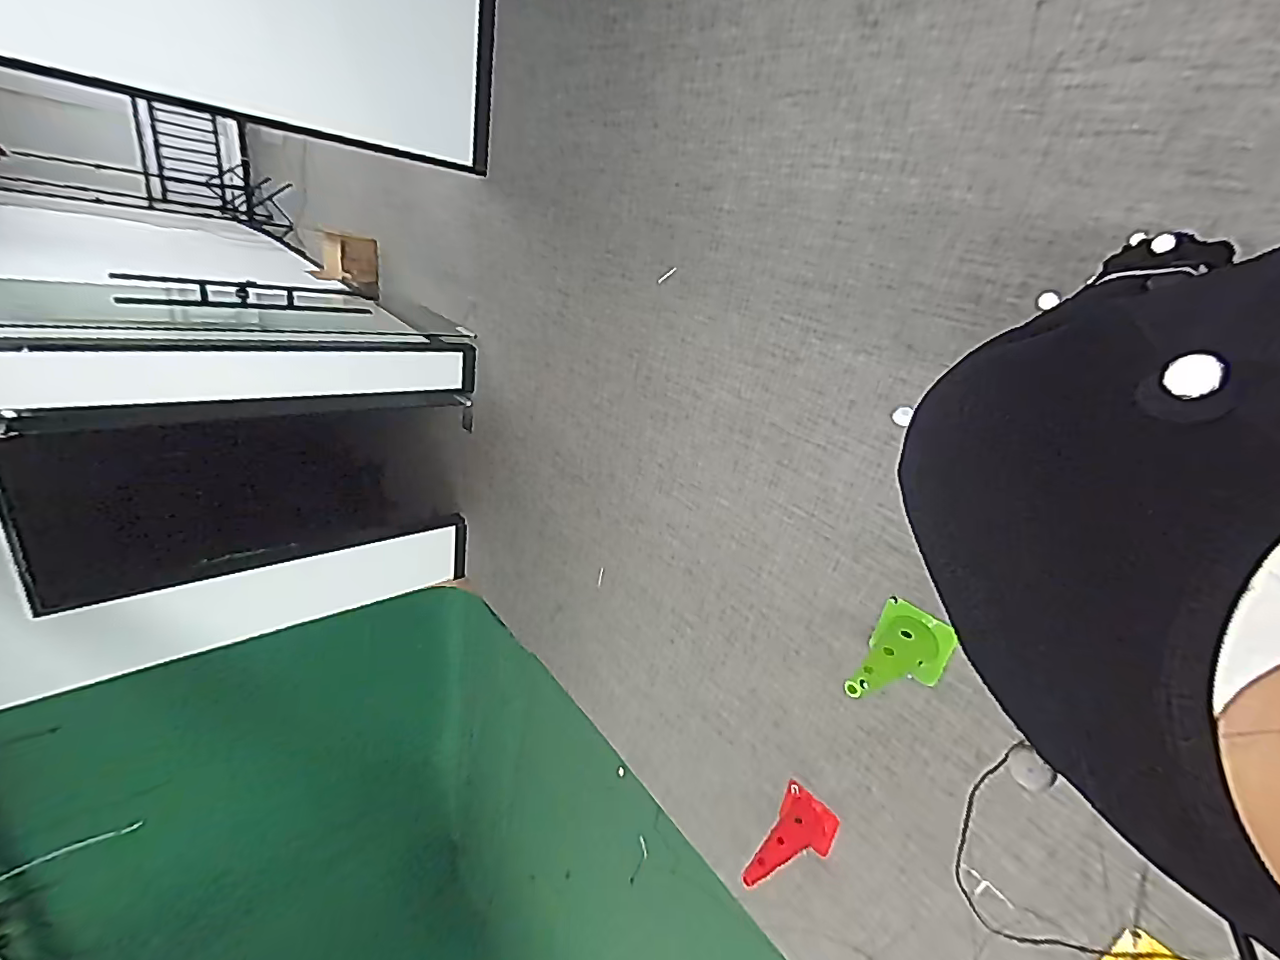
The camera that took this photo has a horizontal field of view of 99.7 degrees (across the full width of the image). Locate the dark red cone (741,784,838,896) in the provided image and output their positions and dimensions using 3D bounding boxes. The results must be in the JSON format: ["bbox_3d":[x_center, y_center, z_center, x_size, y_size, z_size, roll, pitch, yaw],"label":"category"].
[{"bbox_3d":[0.466,1.223,1.787,0.202,0.394,0.201,27,120,42],"label":"dark red cone"}]

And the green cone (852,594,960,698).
[{"bbox_3d":[0.656,0.480,1.428,0.202,0.368,0.200,31,122,39],"label":"green cone"}]
